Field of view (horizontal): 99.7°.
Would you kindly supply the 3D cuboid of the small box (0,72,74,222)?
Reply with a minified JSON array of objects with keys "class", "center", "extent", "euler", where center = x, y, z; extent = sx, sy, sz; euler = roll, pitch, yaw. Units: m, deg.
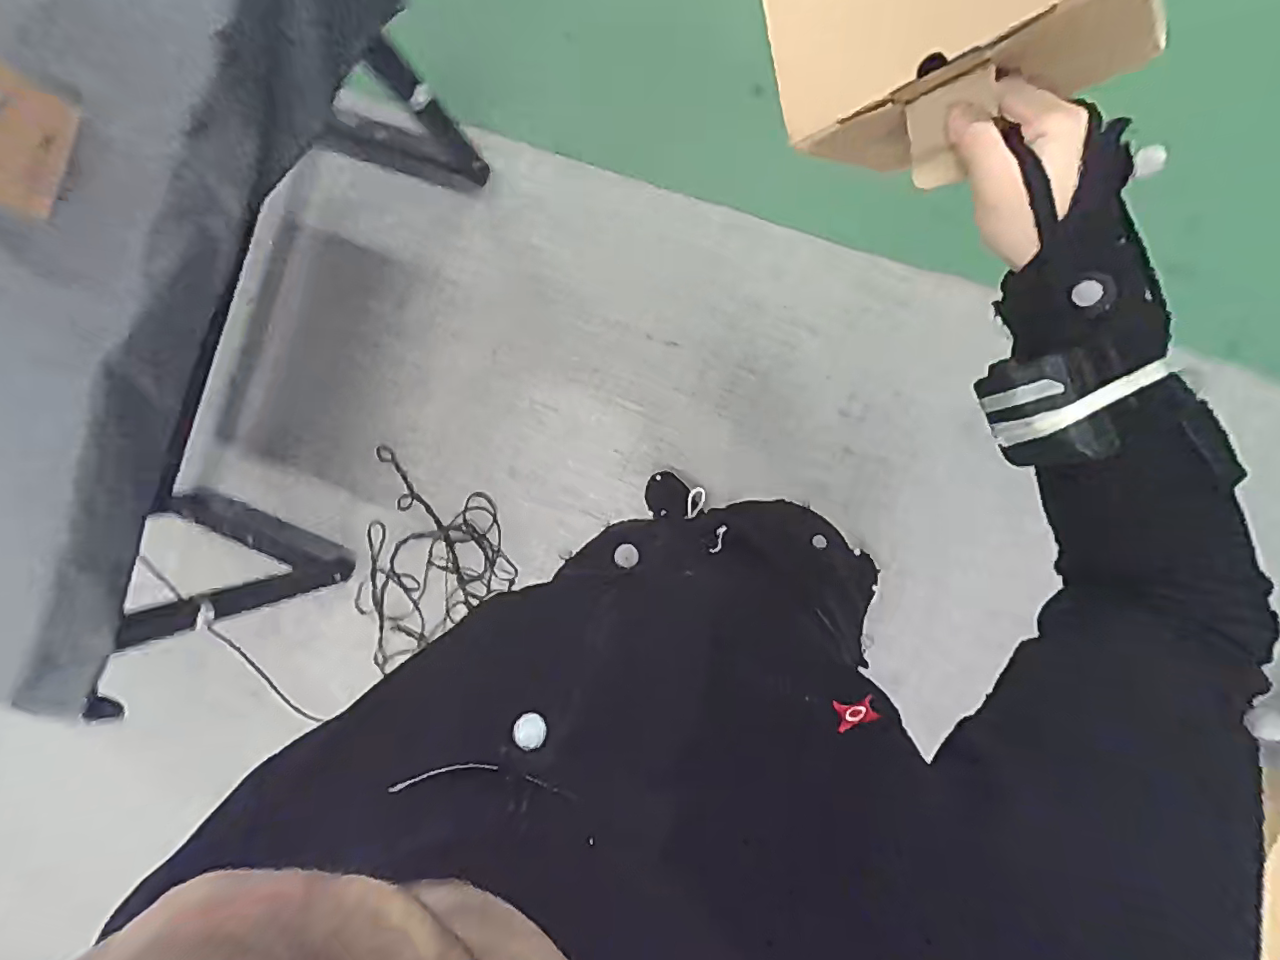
[{"class":"small box","center":[-0.875,-0.450,0.668],"extent":[0.179,0.176,0.168],"euler":[24,94,9]}]
